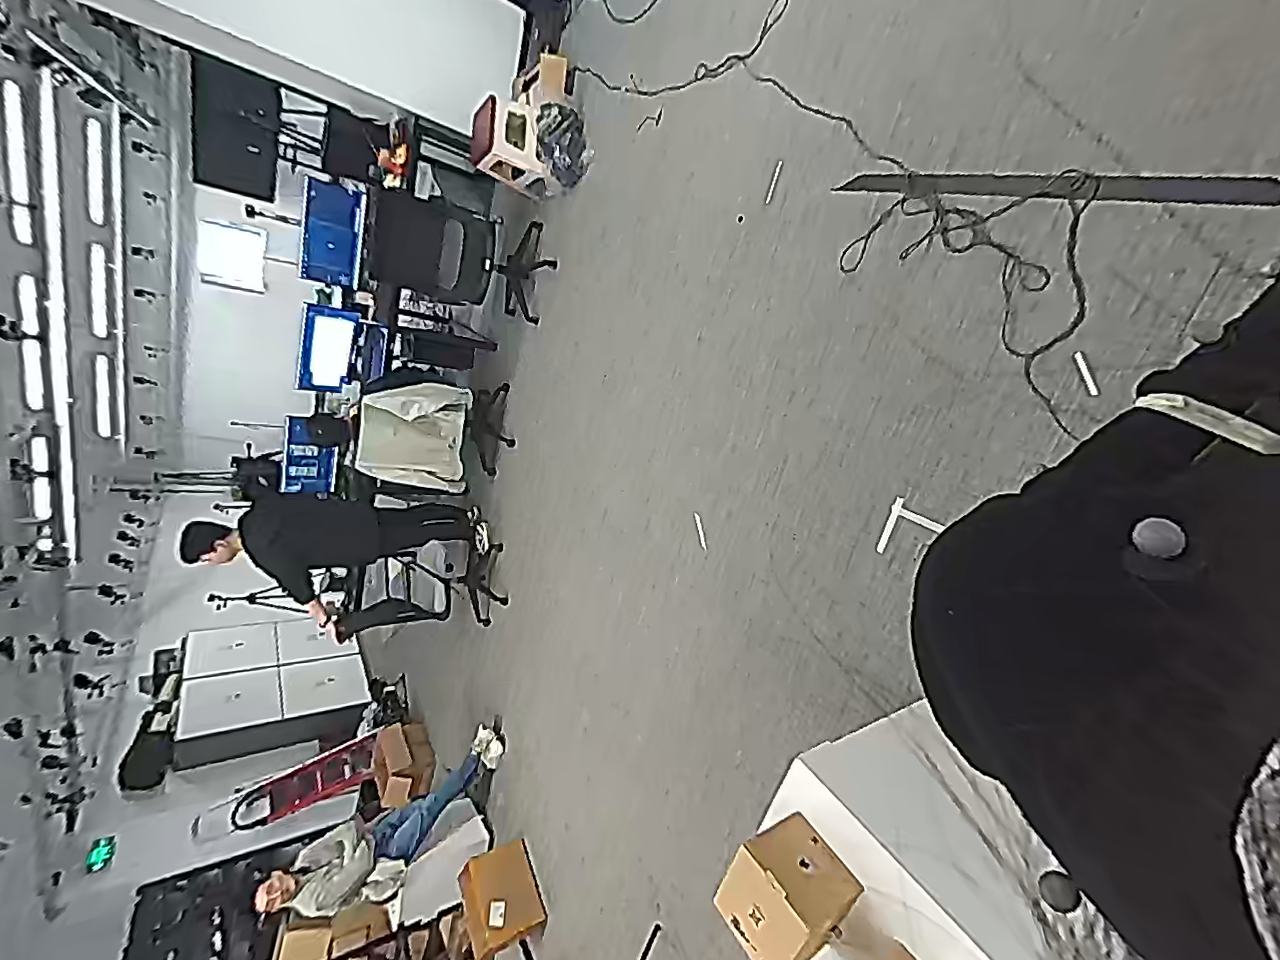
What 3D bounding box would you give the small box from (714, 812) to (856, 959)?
[{"bbox_3d":[0.276,0.773,1.020,0.168,0.176,0.179,40,119,46],"label":"small box"}]
